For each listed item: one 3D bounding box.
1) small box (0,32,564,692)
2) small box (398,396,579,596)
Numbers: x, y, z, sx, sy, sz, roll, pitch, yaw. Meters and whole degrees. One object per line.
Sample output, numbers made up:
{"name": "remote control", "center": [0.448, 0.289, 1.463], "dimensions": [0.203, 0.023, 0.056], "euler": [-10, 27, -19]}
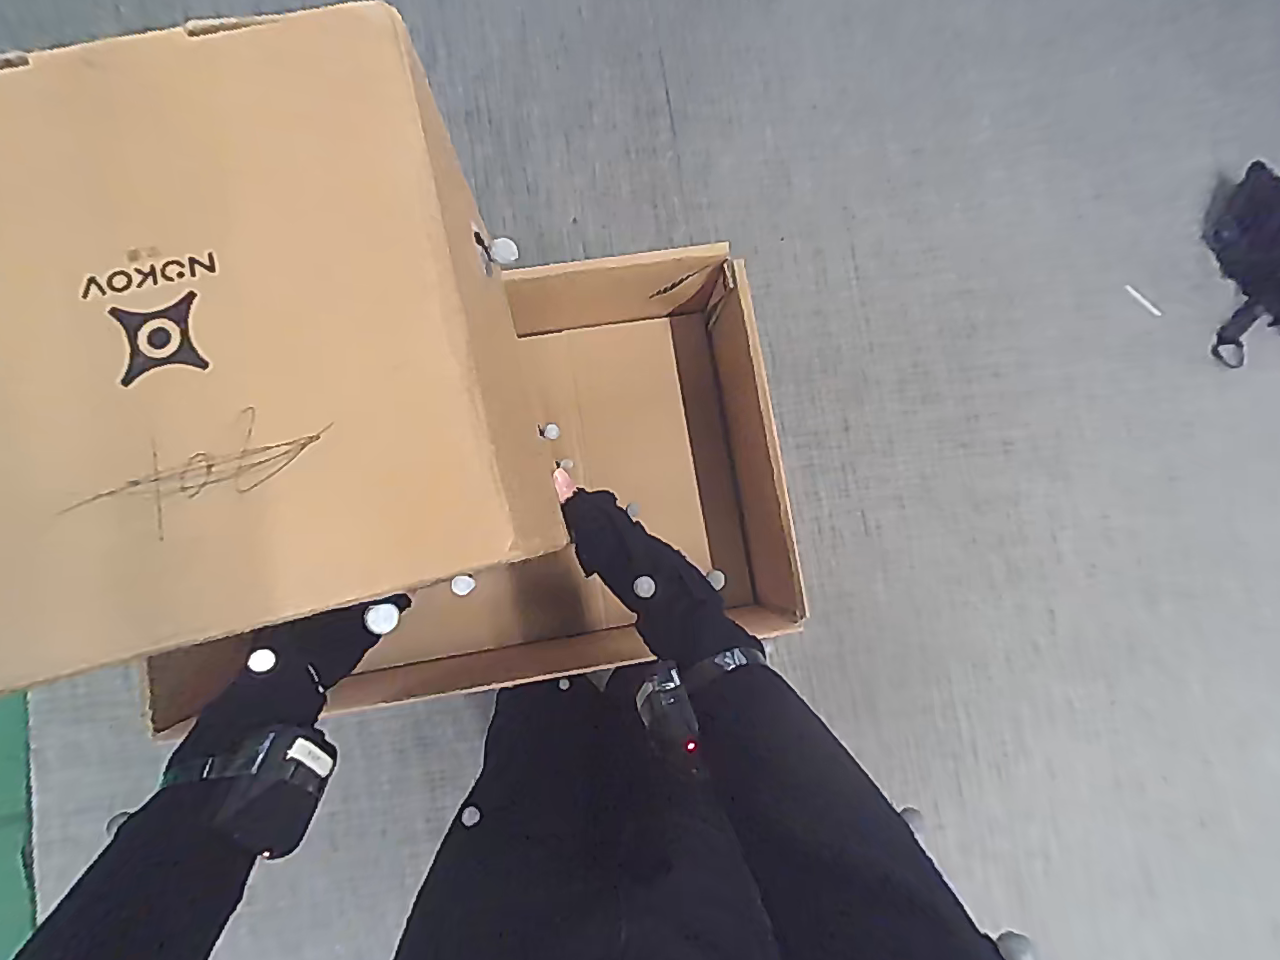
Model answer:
{"name": "small box", "center": [-0.137, -0.033, 0.238], "dimensions": [0.168, 0.176, 0.179], "euler": [-15, 85, -4]}
{"name": "small box", "center": [-0.165, 0.010, 0.560], "dimensions": [0.168, 0.176, 0.179], "euler": [-16, 84, -5]}
